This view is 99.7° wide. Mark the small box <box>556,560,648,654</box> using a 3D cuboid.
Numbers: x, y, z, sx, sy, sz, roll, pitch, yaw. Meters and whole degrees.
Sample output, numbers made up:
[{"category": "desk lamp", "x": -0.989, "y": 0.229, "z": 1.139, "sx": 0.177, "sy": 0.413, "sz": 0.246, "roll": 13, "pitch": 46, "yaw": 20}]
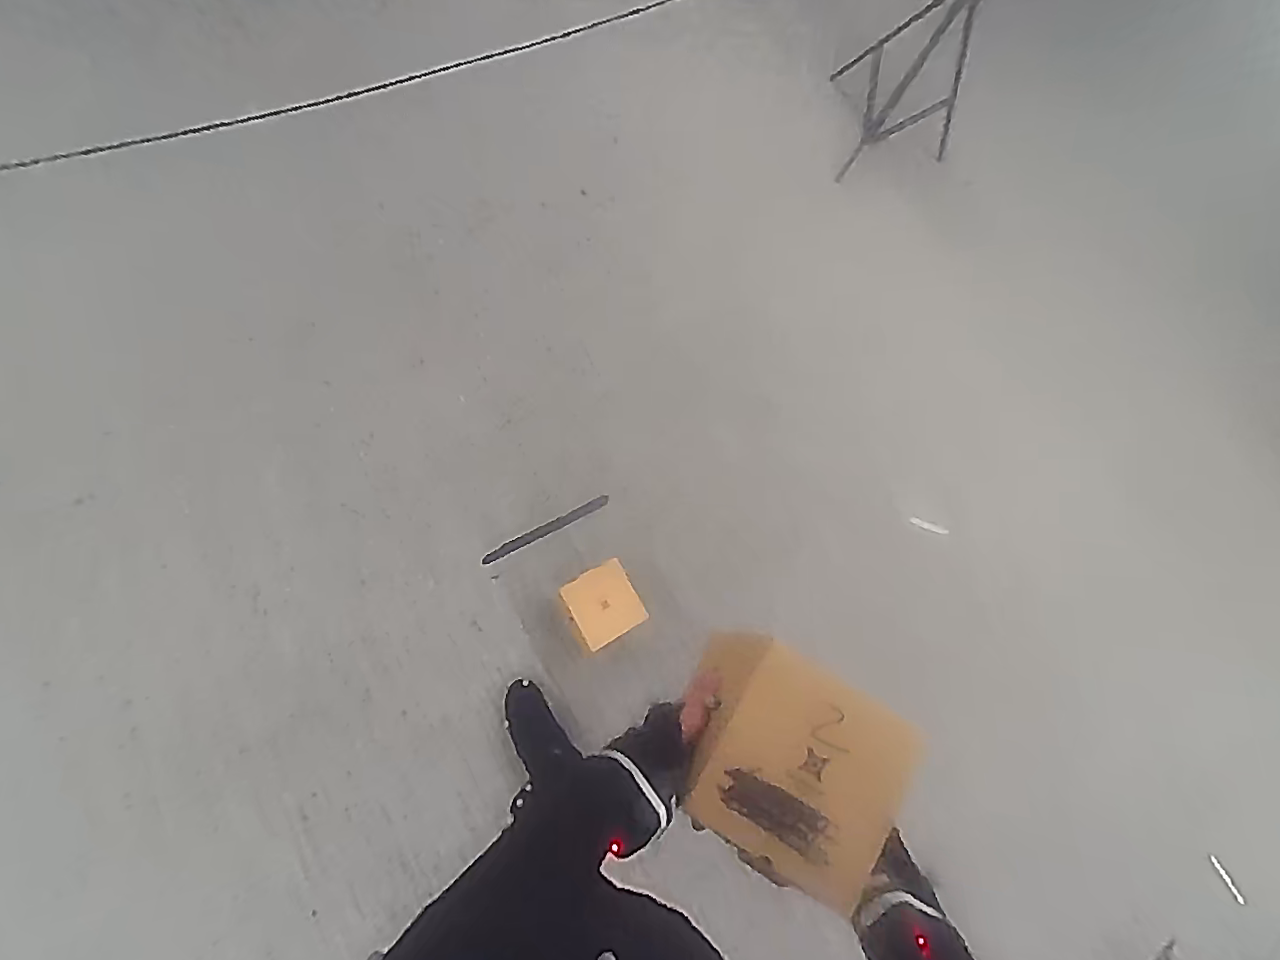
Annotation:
[{"category": "small box", "x": -0.104, "y": 0.331, "z": 1.397, "sx": 0.168, "sy": 0.176, "sz": 0.179, "roll": -27, "pitch": 79, "yaw": -20}]

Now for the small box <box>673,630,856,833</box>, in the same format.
[{"category": "small box", "x": 0.152, "y": 0.313, "z": 0.720, "sx": 0.168, "sy": 0.176, "sz": 0.179, "roll": 26, "pitch": 78, "yaw": 5}]
